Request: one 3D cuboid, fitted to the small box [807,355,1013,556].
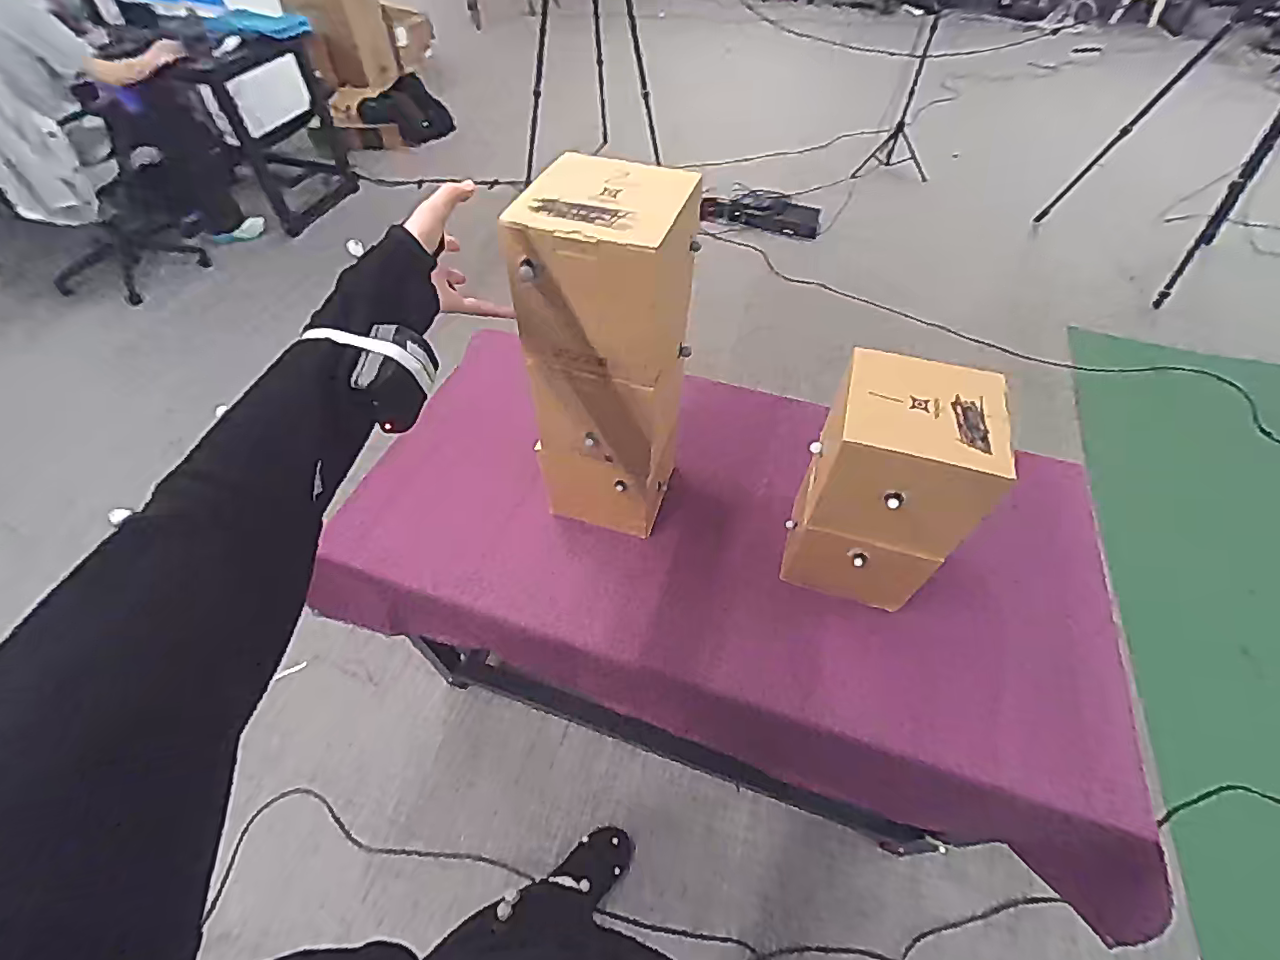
[{"bbox_3d":[0.324,-0.026,0.675,0.179,0.176,0.168,14,54,12],"label":"small box"}]

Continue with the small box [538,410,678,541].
[{"bbox_3d":[-0.046,-0.022,0.885,0.179,0.176,0.168,14,53,10],"label":"small box"}]

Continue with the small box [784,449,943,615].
[{"bbox_3d":[0.324,0.077,0.803,0.179,0.176,0.168,15,54,11],"label":"small box"}]

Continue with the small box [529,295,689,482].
[{"bbox_3d":[-0.037,-0.127,0.757,0.168,0.176,0.179,13,52,10],"label":"small box"}]
